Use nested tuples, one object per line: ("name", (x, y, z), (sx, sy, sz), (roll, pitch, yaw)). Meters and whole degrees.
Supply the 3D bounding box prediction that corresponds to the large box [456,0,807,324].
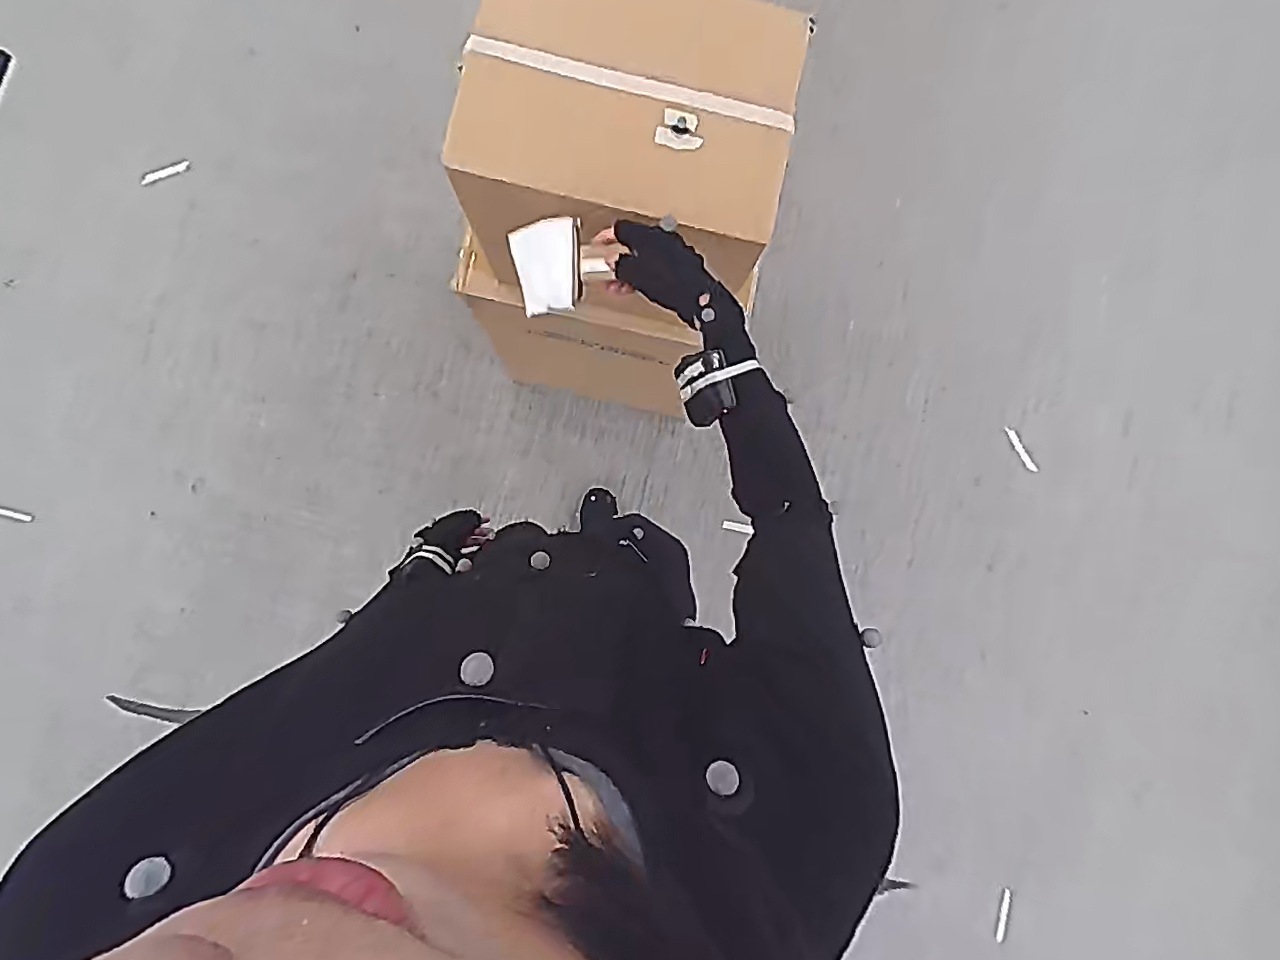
("large box", (-0.016, -0.475, 0.826), (0.408, 0.320, 0.320), (12, 85, -4))
